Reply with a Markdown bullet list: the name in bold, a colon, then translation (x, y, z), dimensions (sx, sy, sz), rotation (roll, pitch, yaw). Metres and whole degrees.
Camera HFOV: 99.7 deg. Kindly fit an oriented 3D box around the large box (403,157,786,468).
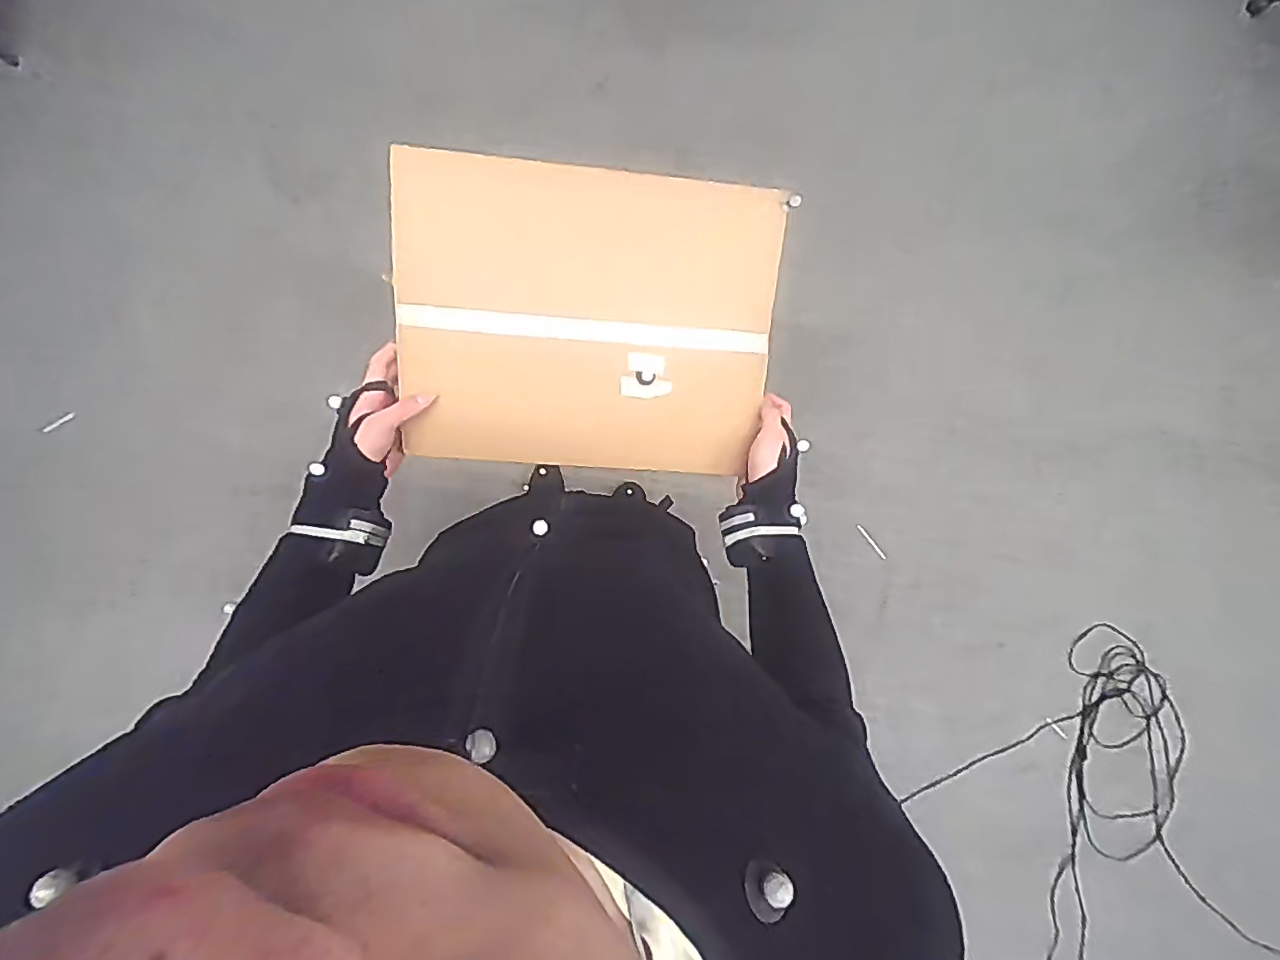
- **large box**: translation (-0.065, -0.209, 0.740), dimensions (0.408, 0.320, 0.320), rotation (3, 107, -7)
